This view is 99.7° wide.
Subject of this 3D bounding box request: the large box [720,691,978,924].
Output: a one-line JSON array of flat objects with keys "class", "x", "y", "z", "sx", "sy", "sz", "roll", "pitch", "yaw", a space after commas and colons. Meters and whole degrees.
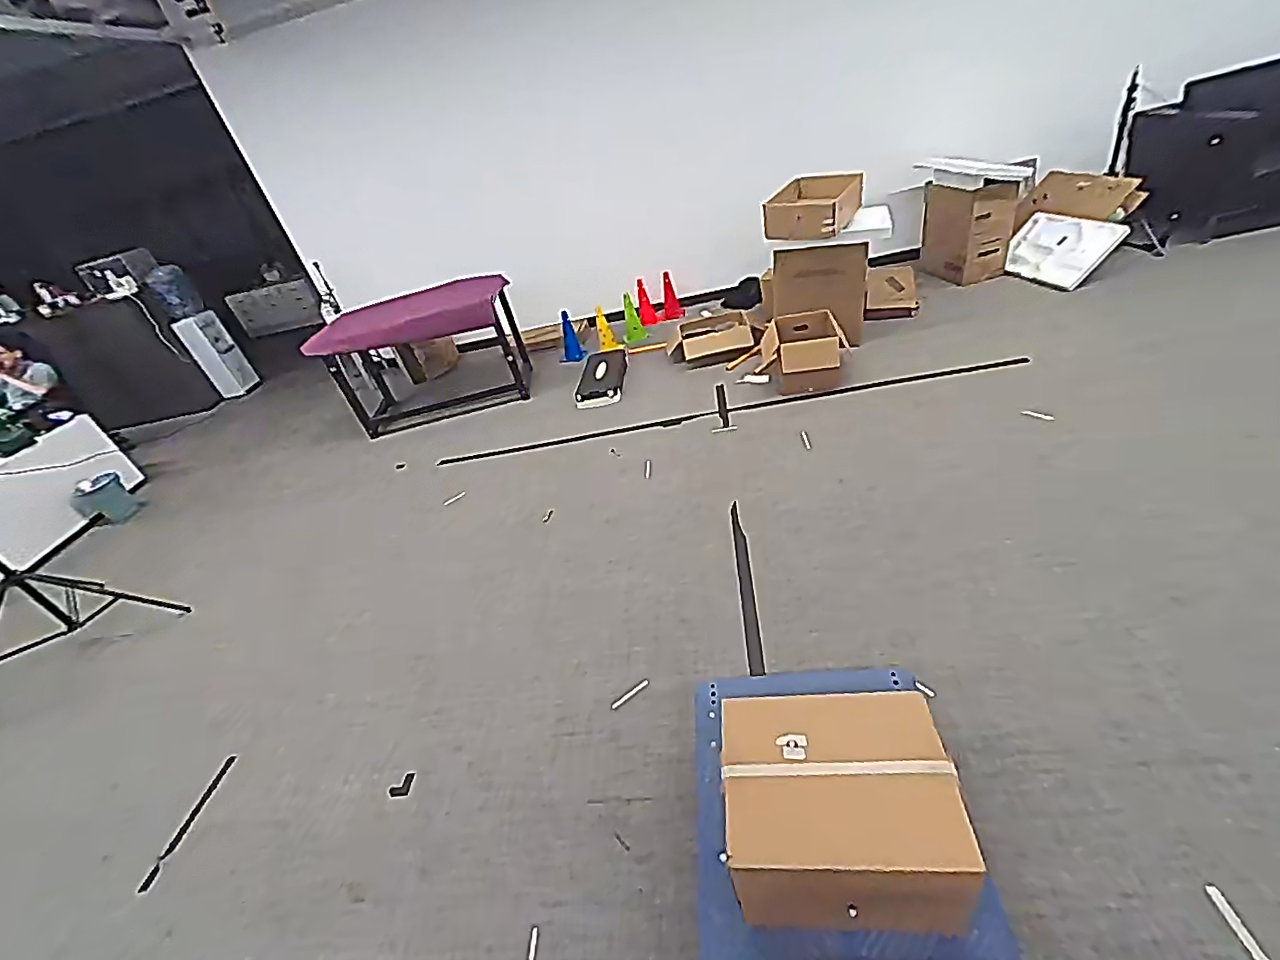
[{"class": "large box", "x": 0.393, "y": 0.666, "z": 1.097, "sx": 0.408, "sy": 0.320, "sz": 0.320, "roll": -9, "pitch": 34, "yaw": 12}]
